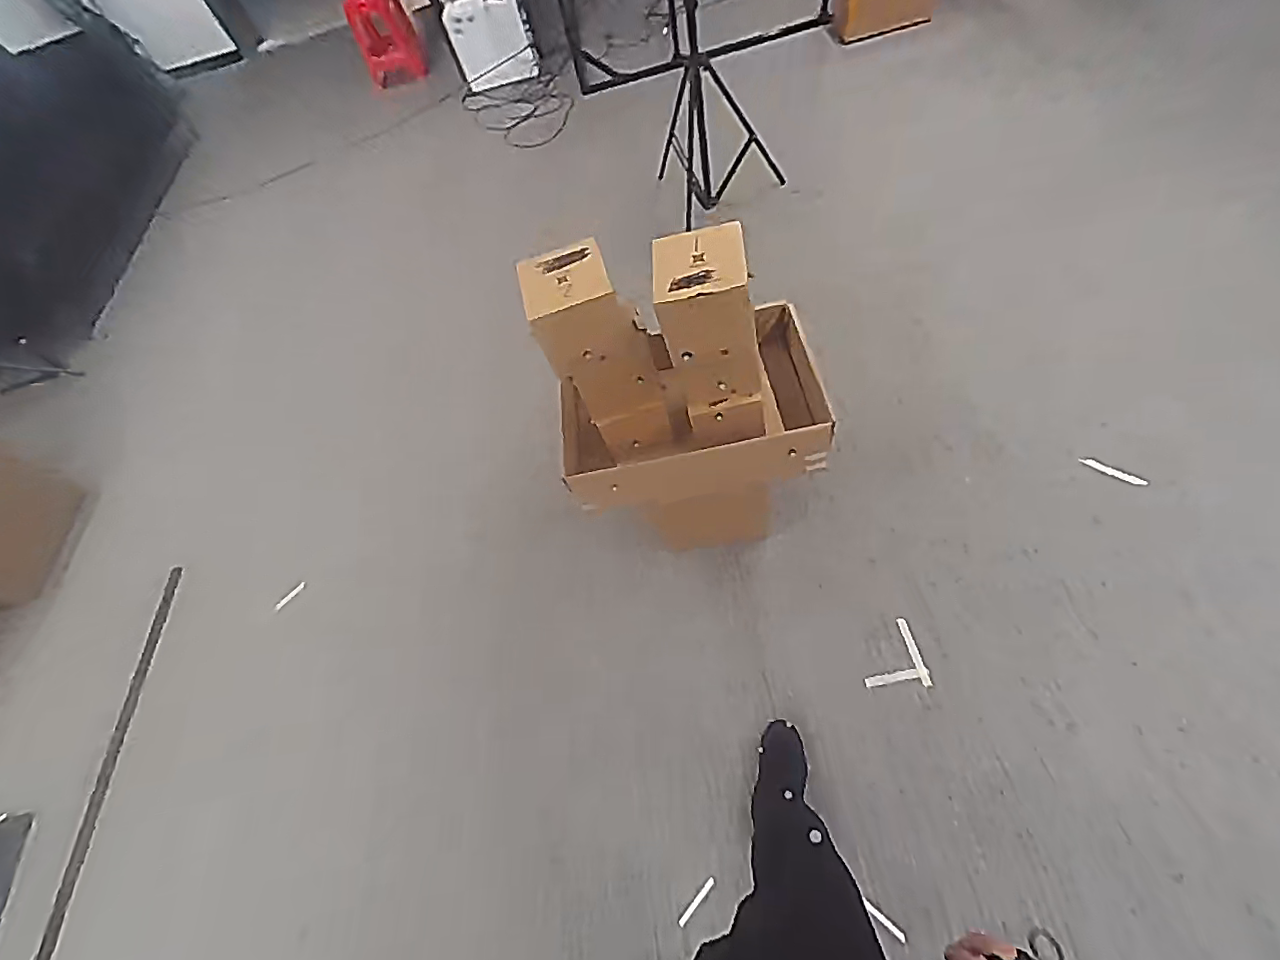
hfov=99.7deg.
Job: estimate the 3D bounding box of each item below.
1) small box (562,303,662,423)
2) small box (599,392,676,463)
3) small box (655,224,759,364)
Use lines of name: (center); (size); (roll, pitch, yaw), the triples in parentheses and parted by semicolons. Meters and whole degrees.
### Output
small box: (-0.056, -0.257, 1.211); (0.179, 0.176, 0.168); (-18, 57, 2)
small box: (-0.019, -0.172, 1.345); (0.168, 0.176, 0.179); (-18, 58, 3)
small box: (0.128, -0.337, 1.015); (0.168, 0.176, 0.179); (-7, 59, 13)
